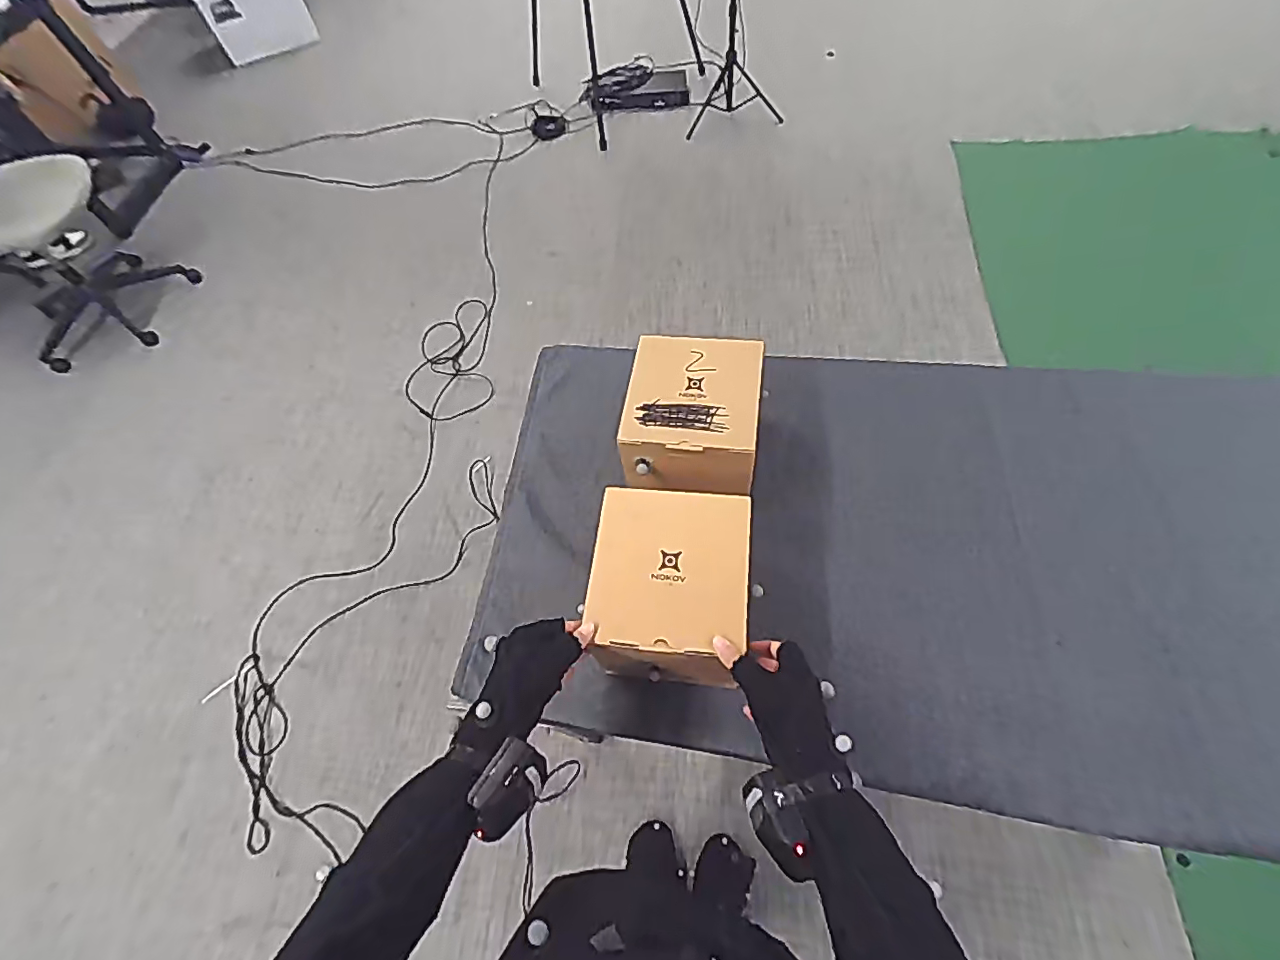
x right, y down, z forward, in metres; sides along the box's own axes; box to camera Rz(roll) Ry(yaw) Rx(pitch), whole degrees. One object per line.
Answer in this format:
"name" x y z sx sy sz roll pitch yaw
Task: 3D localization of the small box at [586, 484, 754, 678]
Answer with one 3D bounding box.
"small box" 0.043 0.124 0.641 0.168 0.176 0.179 3 62 8
